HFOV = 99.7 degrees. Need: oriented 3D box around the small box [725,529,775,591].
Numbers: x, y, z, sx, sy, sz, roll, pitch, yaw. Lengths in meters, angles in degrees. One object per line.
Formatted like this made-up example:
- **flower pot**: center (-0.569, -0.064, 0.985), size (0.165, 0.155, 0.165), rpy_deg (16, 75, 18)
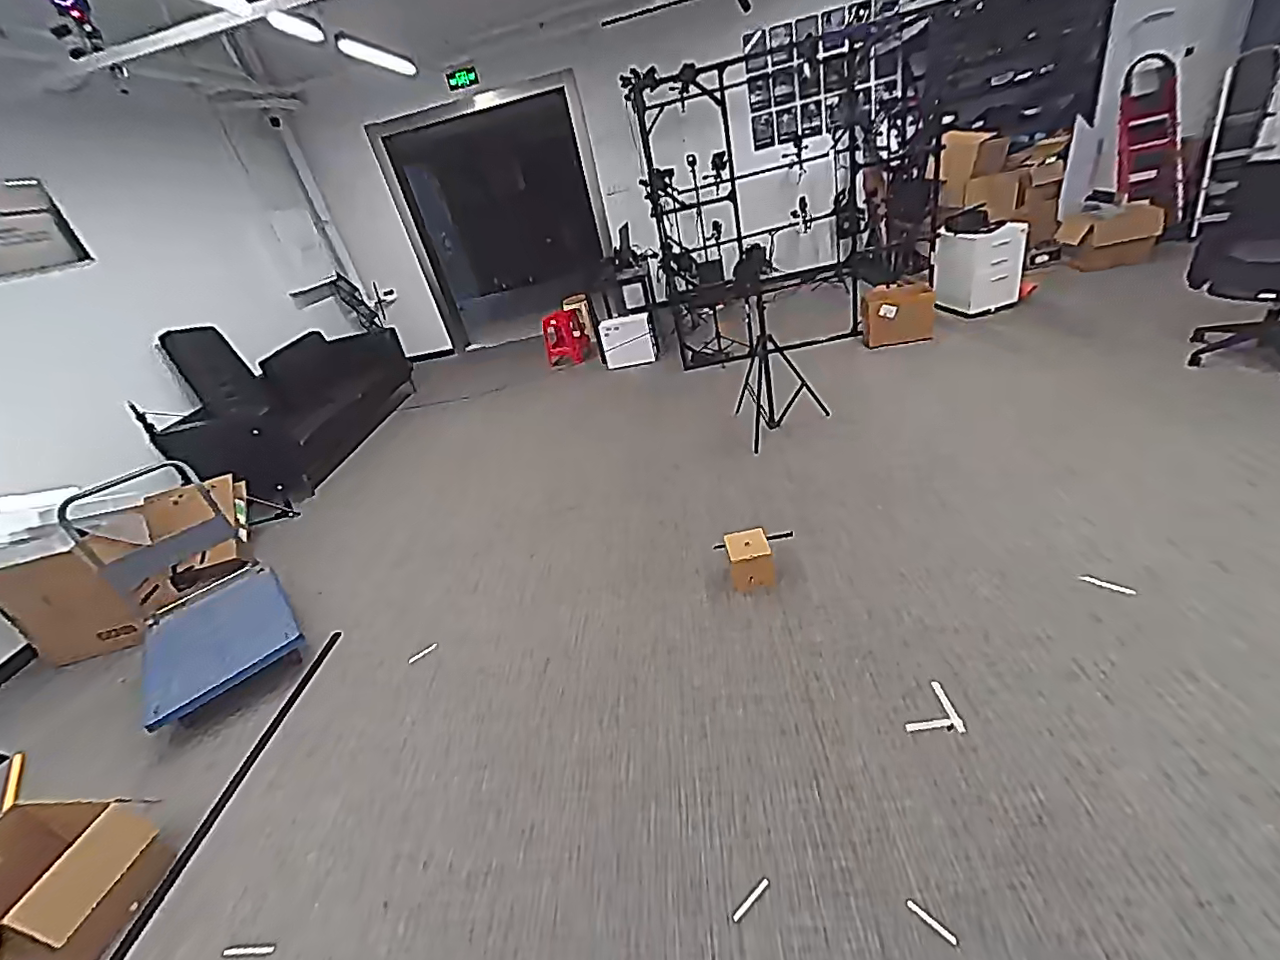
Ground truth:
- **small box**: center (0.455, 0.334, 2.246), size (0.168, 0.176, 0.179), rpy_deg (-13, 30, 3)
